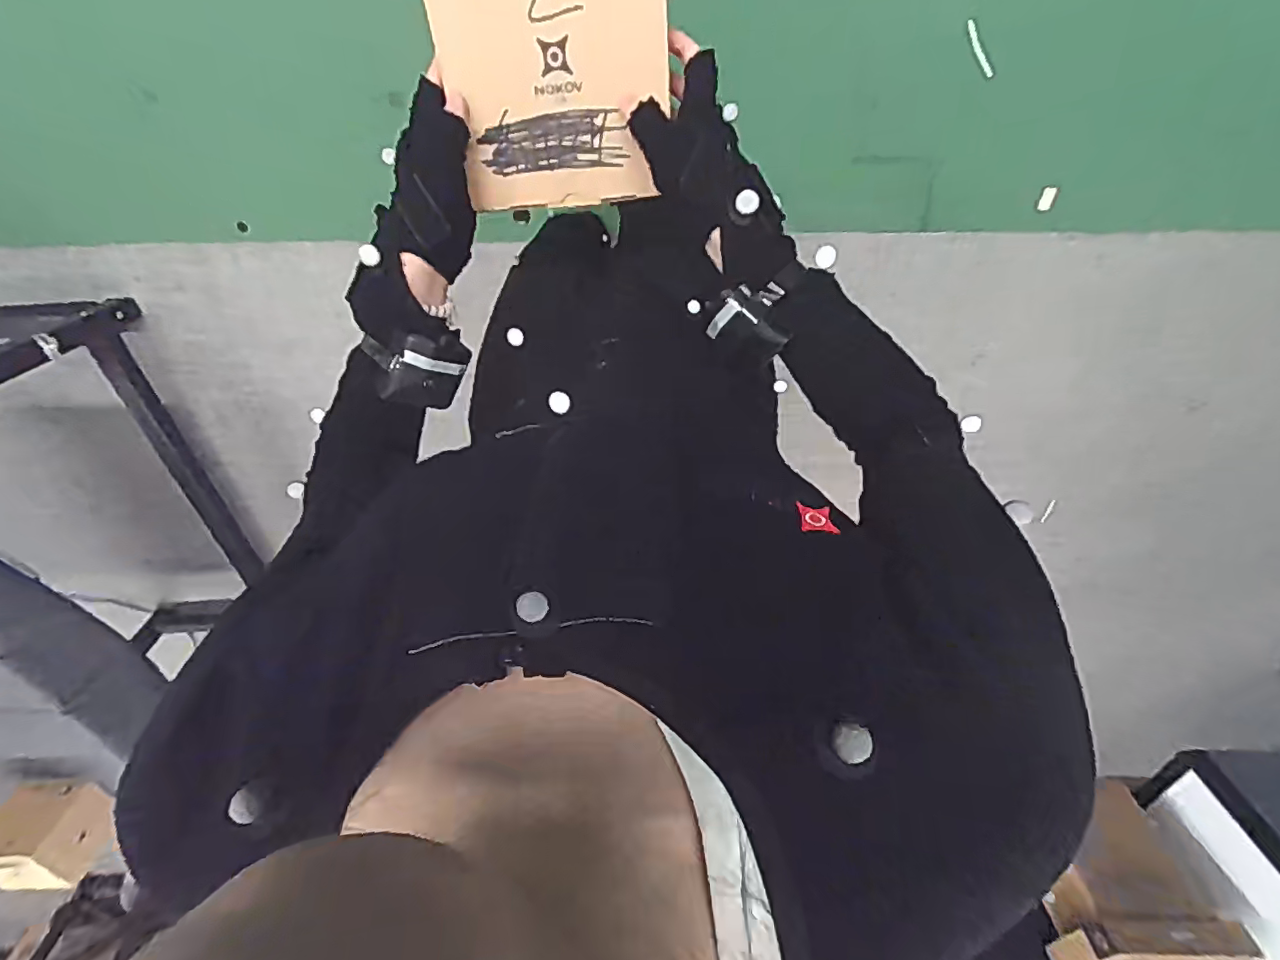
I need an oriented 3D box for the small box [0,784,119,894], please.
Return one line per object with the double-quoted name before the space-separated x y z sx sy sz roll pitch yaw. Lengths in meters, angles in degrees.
"small box" -1.391 0.828 1.255 0.168 0.176 0.179 1 126 -2
